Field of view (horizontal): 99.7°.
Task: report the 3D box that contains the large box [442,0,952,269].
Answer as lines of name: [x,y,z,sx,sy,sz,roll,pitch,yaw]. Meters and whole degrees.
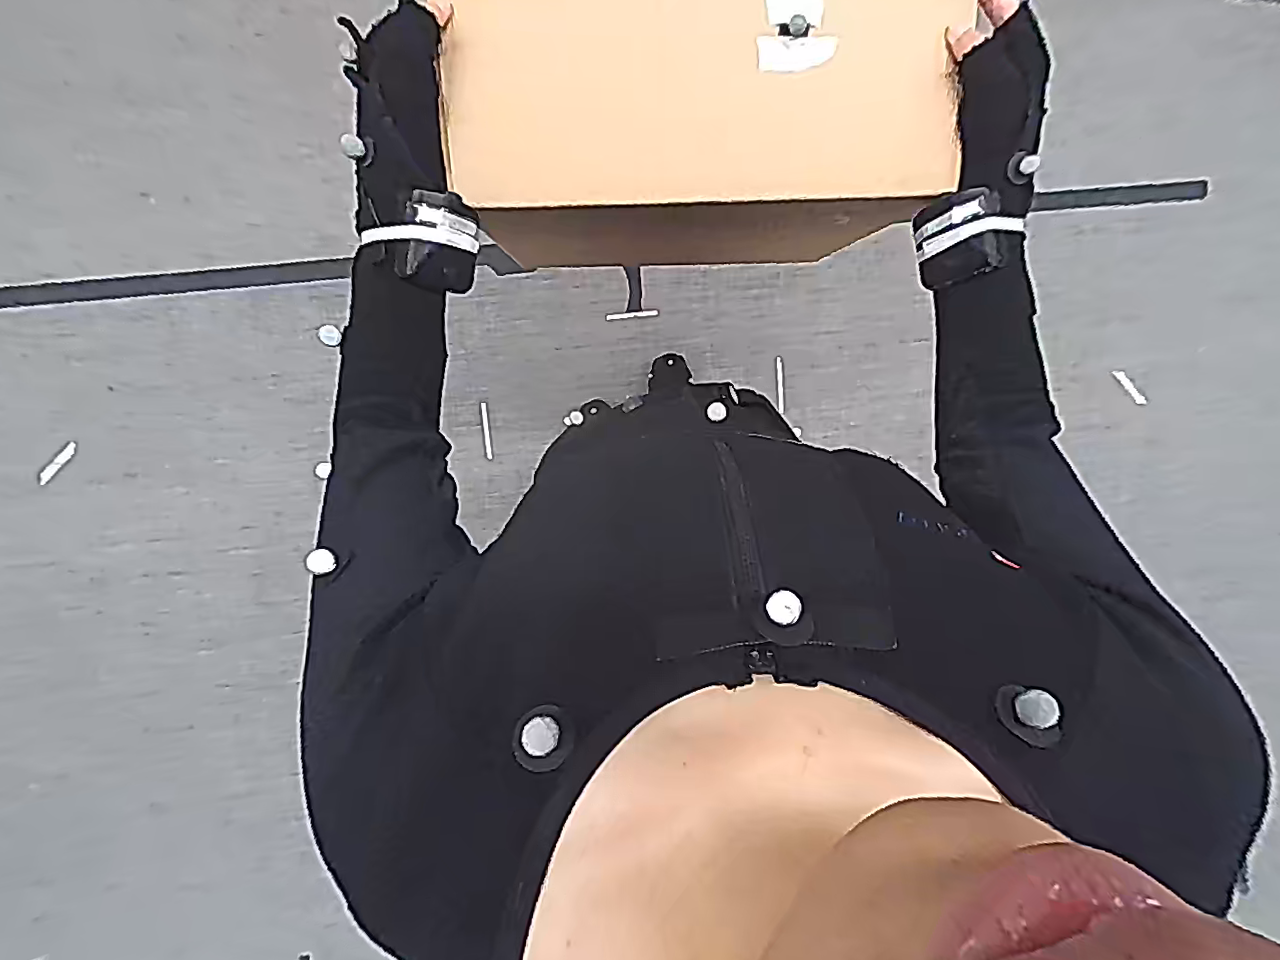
large box: [0.038,-0.413,0.558,0.408,0.320,0.320,-3,104,-2]
